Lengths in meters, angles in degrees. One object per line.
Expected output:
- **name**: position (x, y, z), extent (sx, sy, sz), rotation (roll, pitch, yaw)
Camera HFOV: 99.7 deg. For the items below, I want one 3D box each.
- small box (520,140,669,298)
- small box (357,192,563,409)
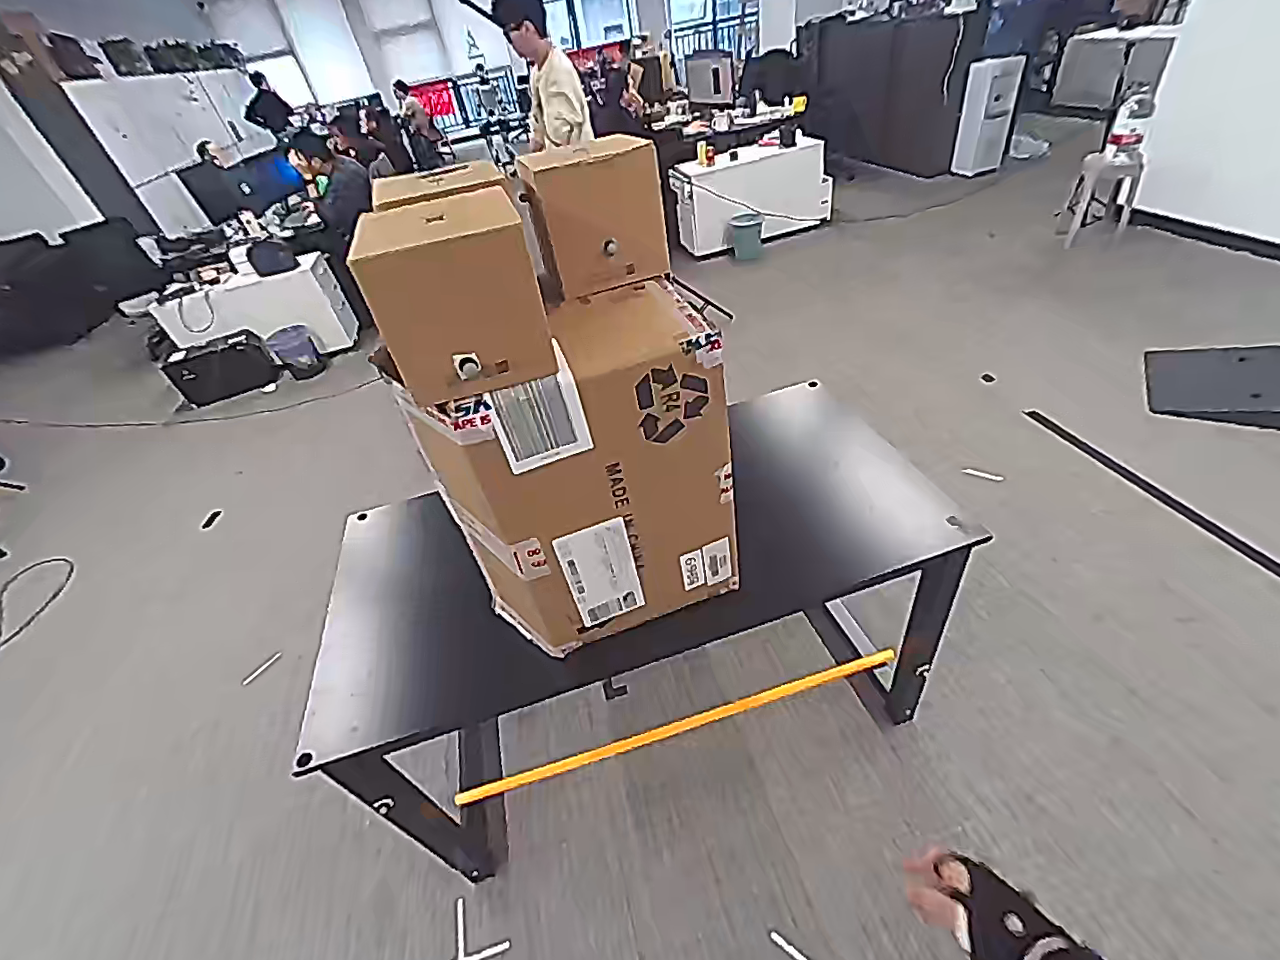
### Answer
- **small box**: position (-0.067, -0.389, 0.804), extent (0.168, 0.176, 0.179), rotation (-19, 39, -8)
- **small box**: position (-0.199, -0.208, 0.620), extent (0.168, 0.176, 0.179), rotation (-18, 43, -9)
